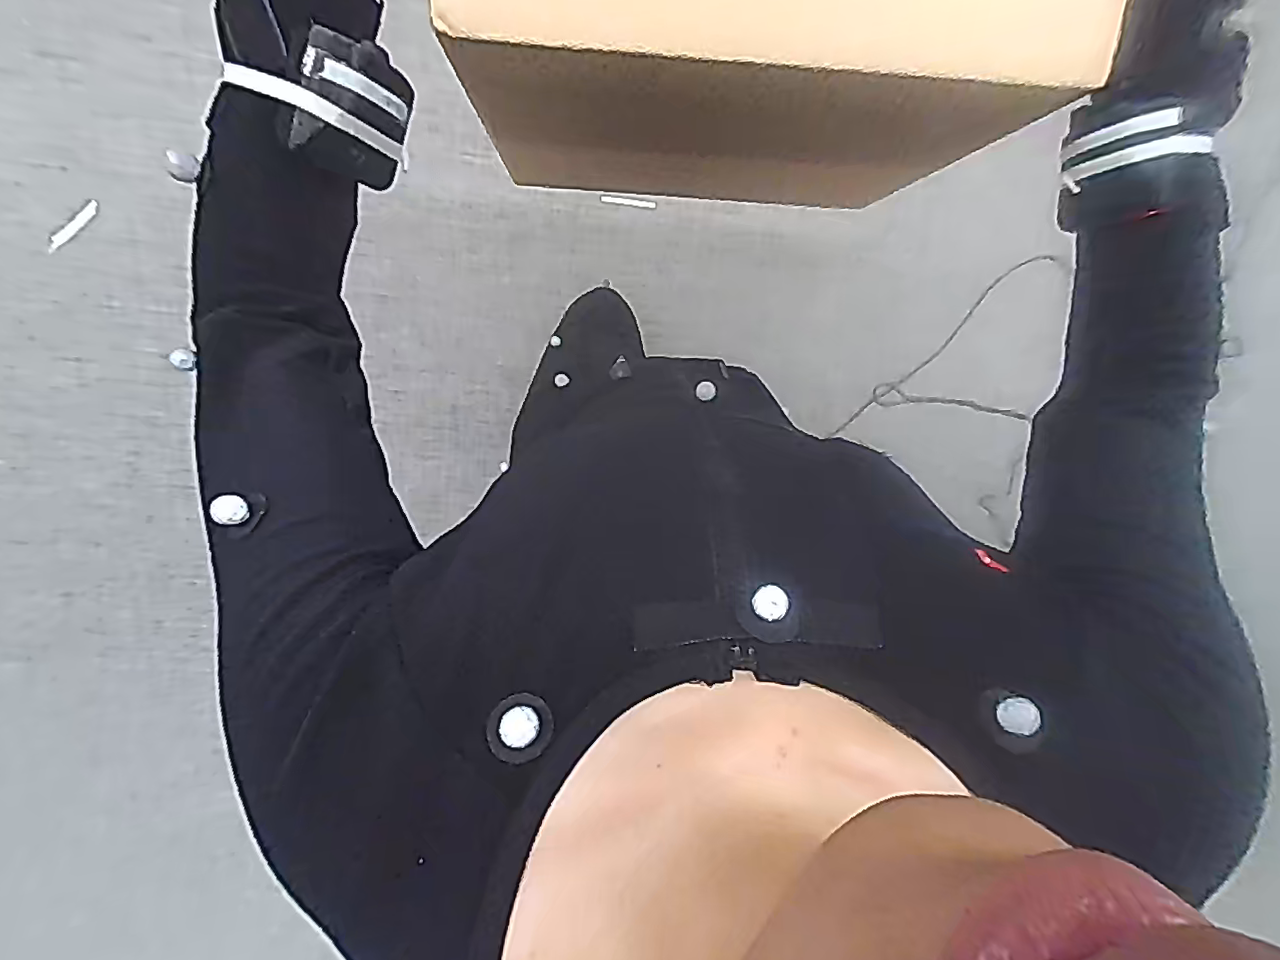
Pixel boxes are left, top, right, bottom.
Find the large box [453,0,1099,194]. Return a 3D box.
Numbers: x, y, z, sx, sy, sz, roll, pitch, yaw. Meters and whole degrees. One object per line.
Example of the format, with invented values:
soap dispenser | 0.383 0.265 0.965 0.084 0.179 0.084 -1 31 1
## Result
large box | 0.076 -0.443 0.436 0.408 0.320 0.320 0 105 -5
